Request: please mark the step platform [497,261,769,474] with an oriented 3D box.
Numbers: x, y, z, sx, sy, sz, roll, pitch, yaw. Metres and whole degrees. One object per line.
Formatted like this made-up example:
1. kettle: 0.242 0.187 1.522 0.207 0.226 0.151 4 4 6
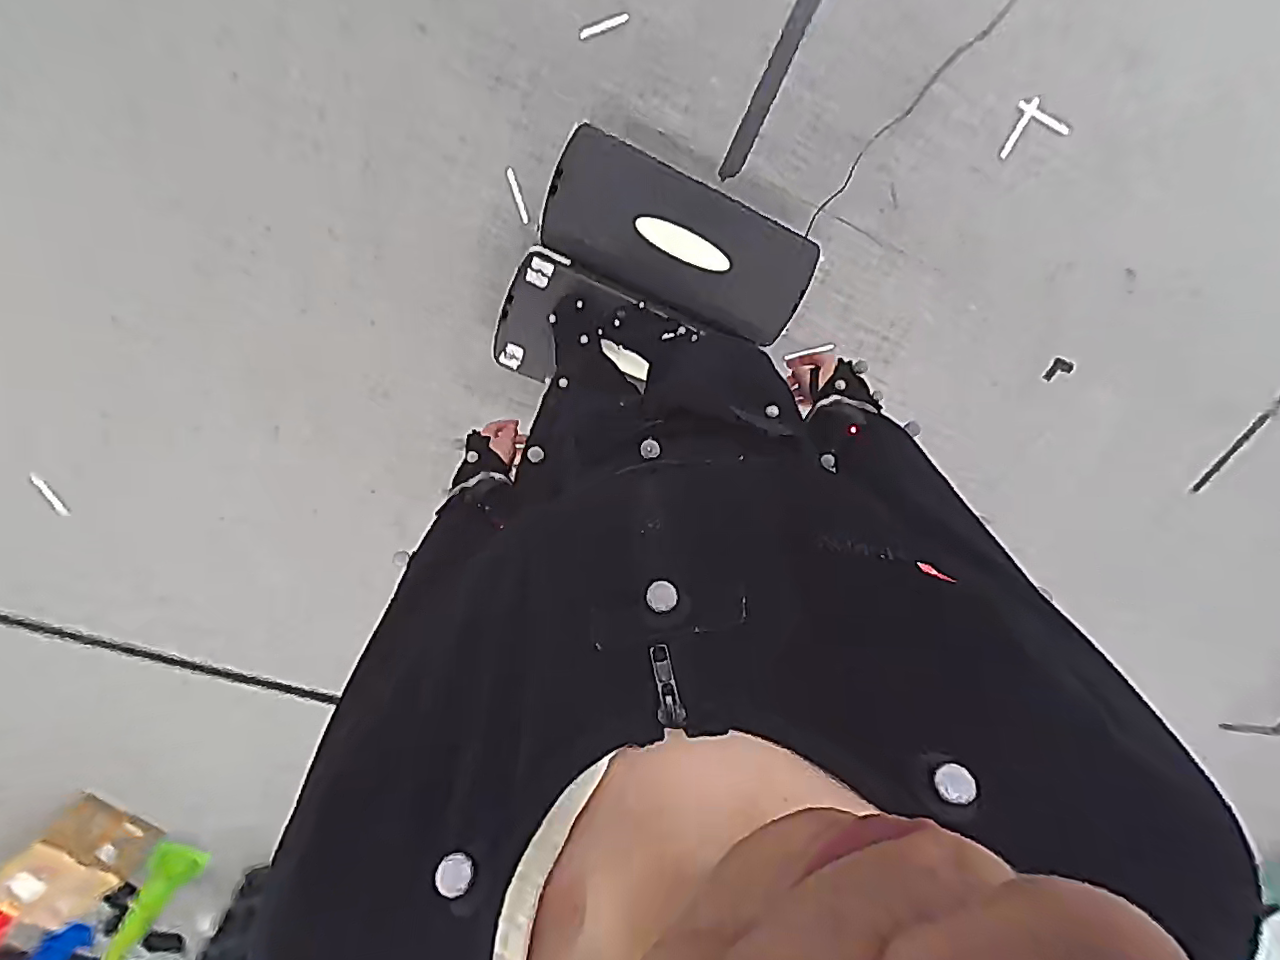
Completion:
1. step platform: -0.014 -0.279 1.399 0.684 0.204 0.286 25 108 -12
